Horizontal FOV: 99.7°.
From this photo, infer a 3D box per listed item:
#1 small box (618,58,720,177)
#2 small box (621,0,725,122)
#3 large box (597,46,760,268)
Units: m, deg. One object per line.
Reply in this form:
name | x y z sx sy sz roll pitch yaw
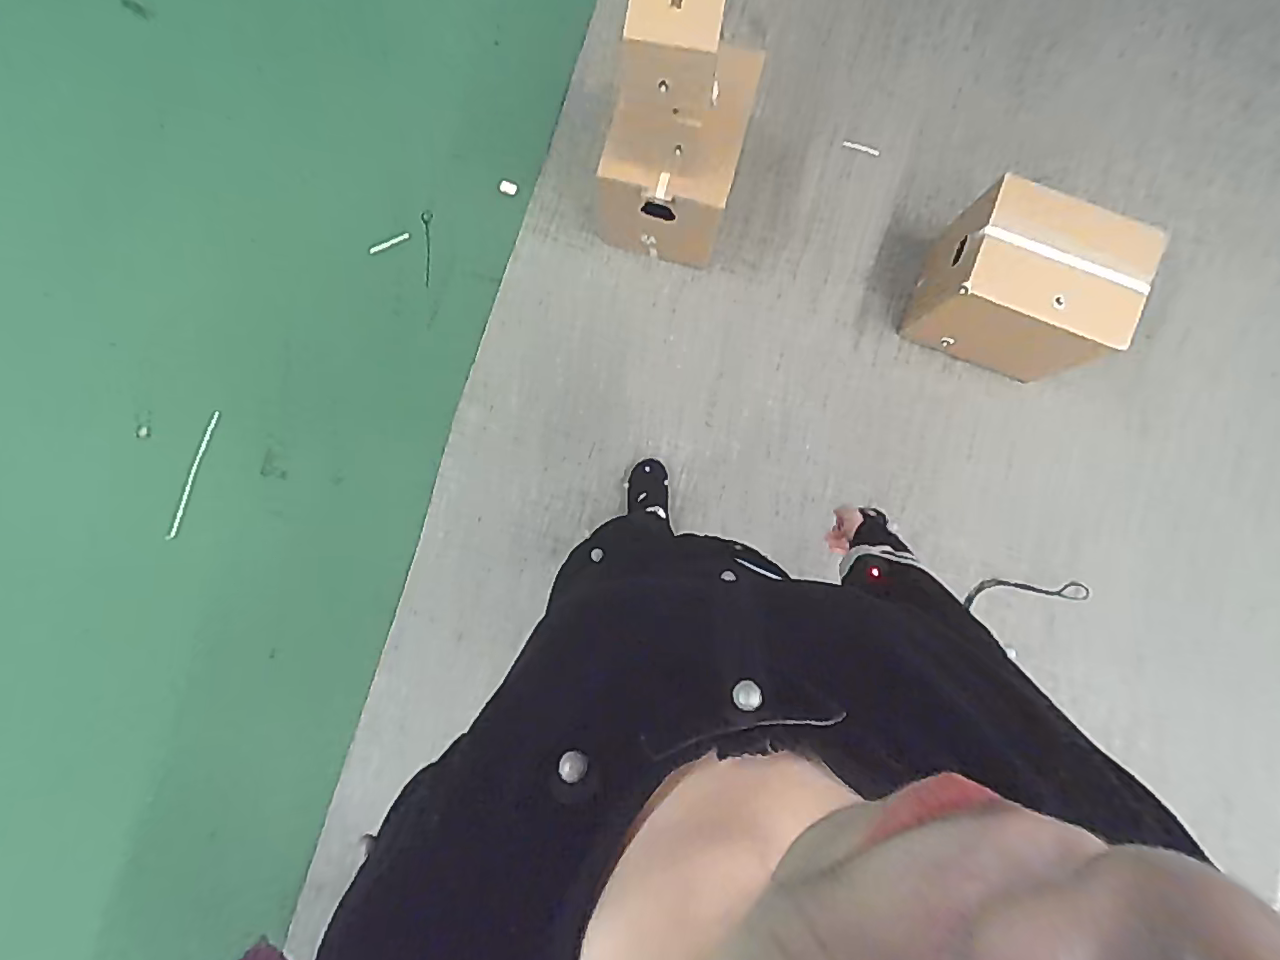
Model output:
small box | 0.059 -0.796 1.175 0.179 0.176 0.168 14 85 2
small box | 0.063 -0.815 1.011 0.168 0.176 0.179 10 85 0
large box | 0.092 -0.840 1.423 0.320 0.320 0.408 15 85 0
